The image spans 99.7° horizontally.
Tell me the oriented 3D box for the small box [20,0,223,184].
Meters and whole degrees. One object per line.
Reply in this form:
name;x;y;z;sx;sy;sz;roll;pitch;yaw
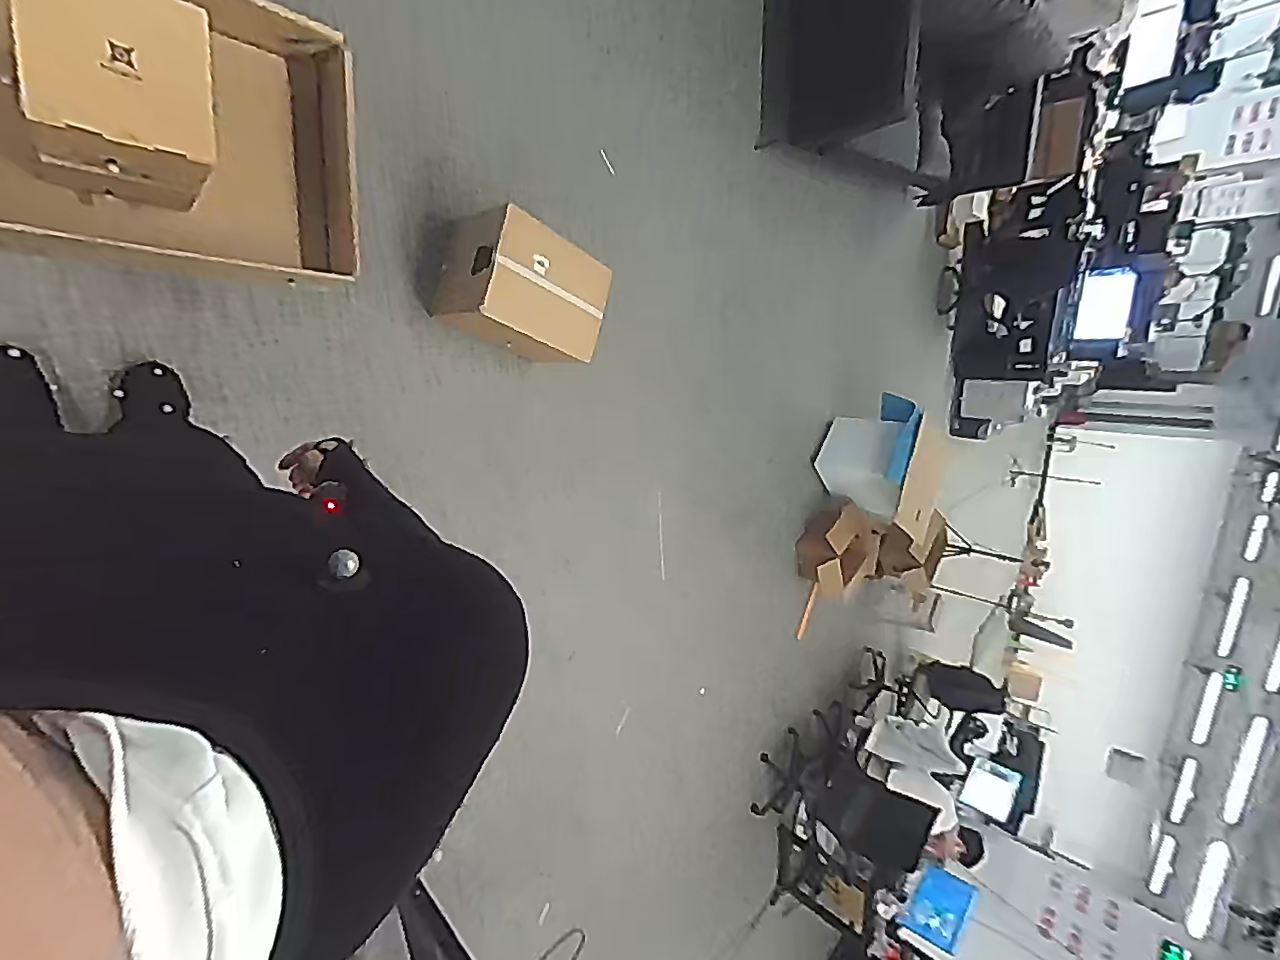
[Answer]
small box;-0.636;-0.495;0.667;0.168;0.176;0.179;-7;105;-44

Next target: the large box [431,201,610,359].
large box;-0.365;-0.589;1.679;0.408;0.320;0.320;15;88;-46
